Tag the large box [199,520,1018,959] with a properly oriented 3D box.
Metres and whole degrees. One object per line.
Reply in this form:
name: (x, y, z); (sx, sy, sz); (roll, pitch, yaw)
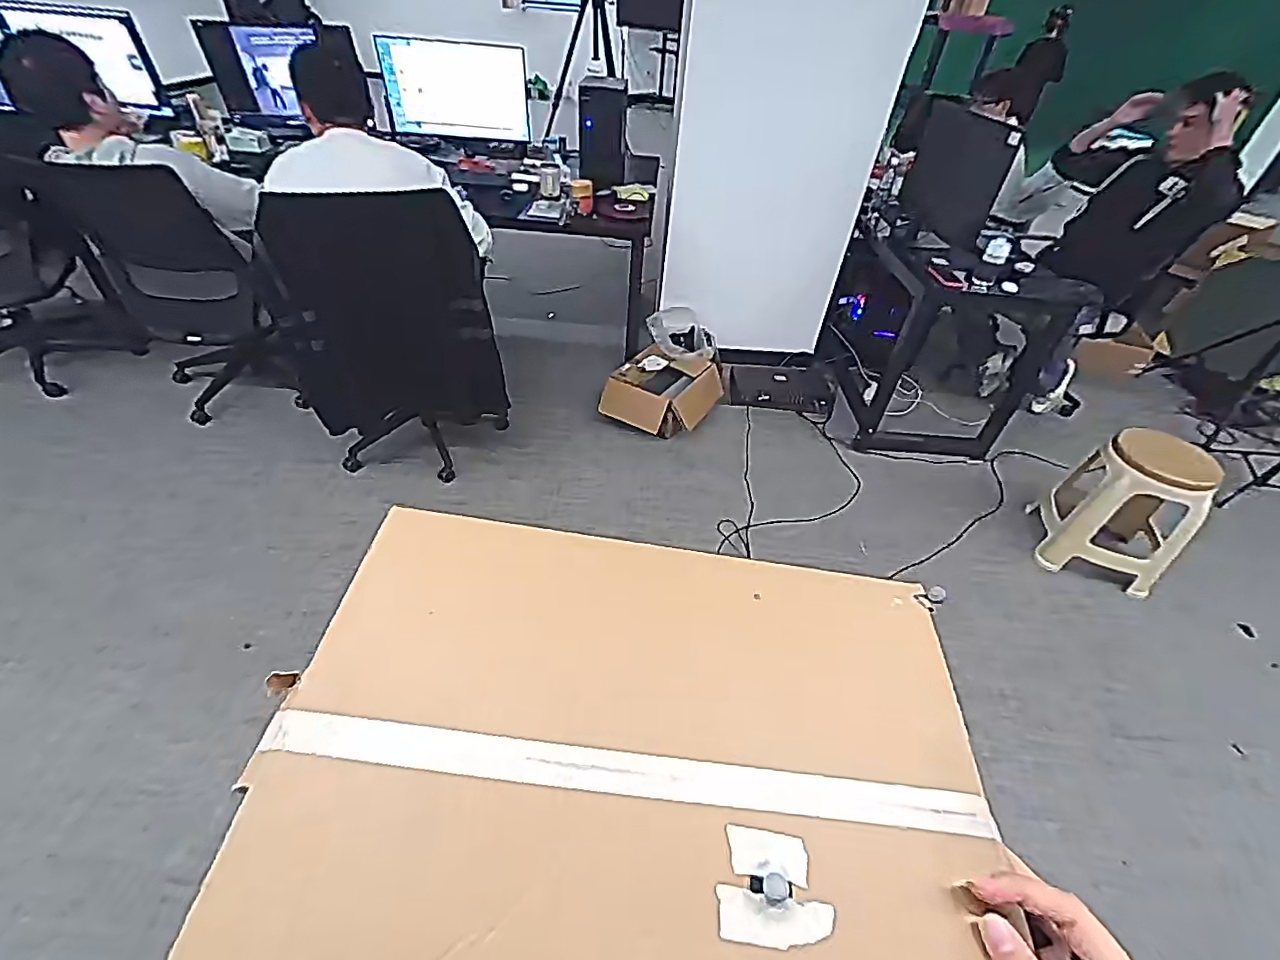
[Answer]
large box: (-0.016, 0.268, 0.426); (0.408, 0.320, 0.320); (10, 49, -3)
